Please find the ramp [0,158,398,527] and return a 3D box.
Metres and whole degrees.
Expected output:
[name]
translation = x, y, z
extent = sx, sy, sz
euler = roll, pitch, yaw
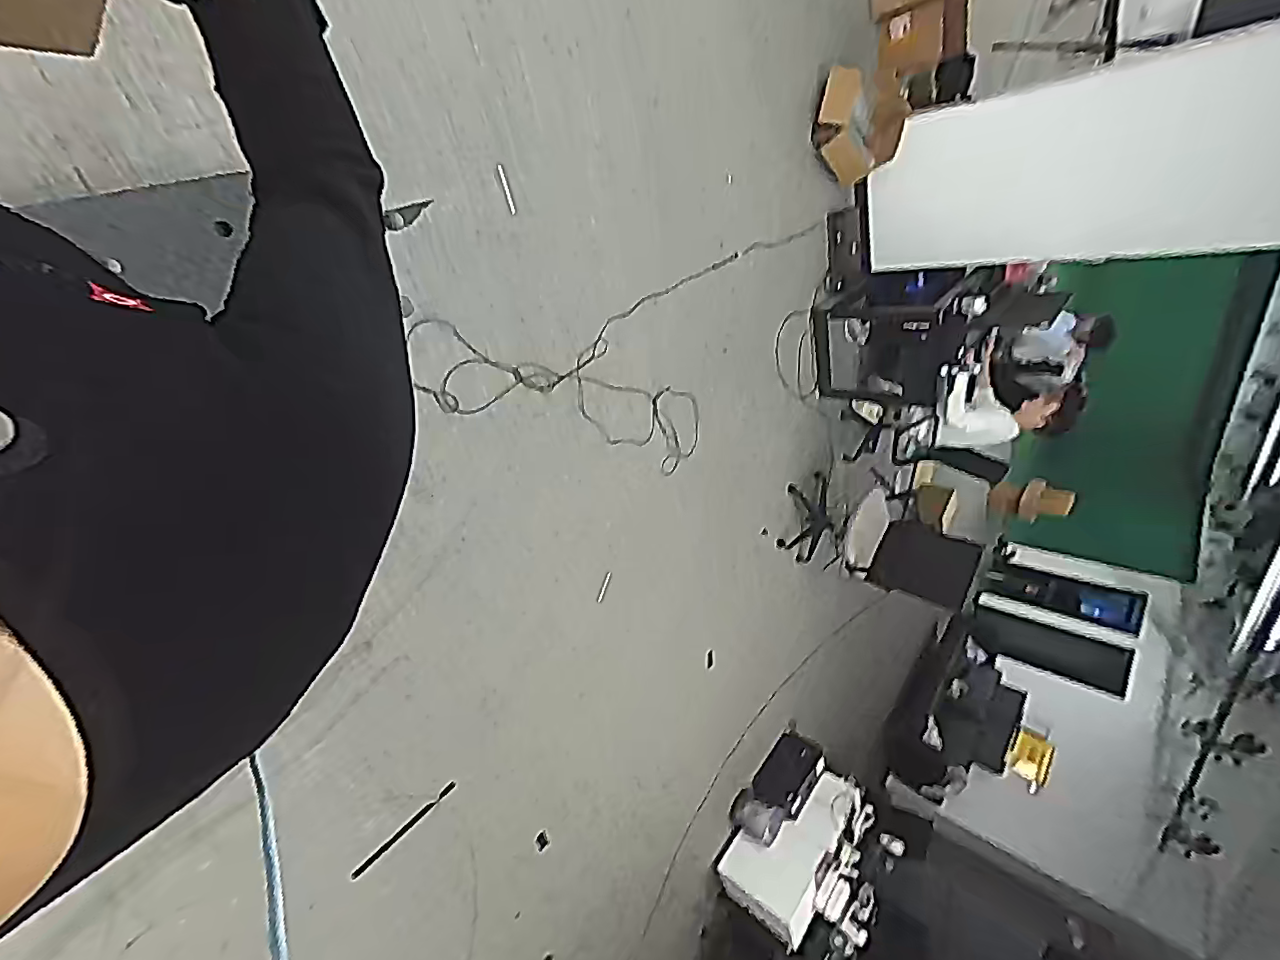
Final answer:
[ramp]
translation = -1.032, -0.343, 1.154
extent = 0.991, 0.206, 0.509
euler = -40, 126, -32
